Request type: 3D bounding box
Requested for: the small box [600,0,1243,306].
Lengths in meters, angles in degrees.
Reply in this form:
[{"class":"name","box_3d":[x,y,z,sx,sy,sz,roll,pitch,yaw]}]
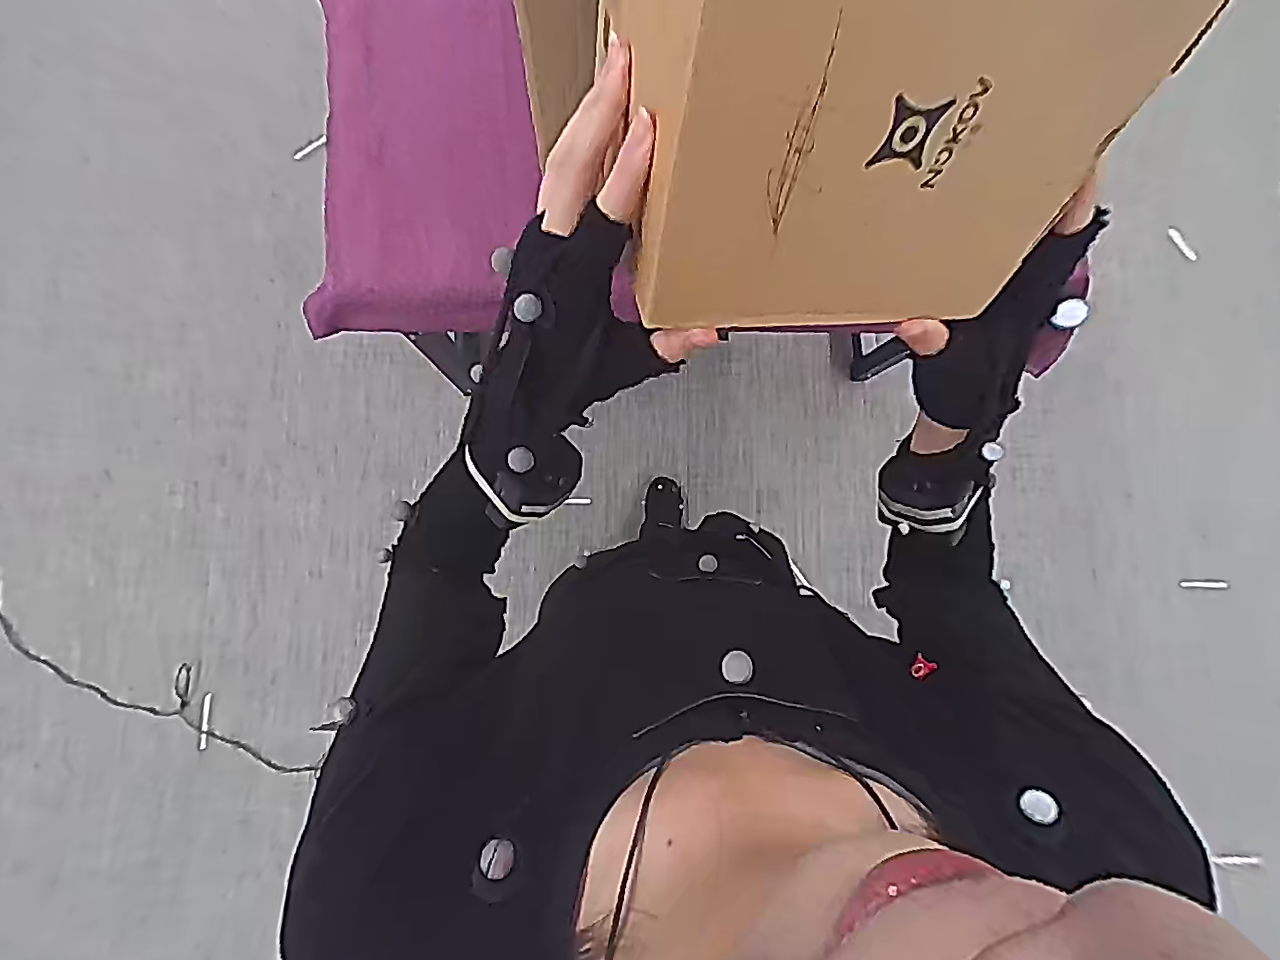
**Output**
[{"class":"small box","box_3d":[0.086,-0.193,0.219,0.179,0.168,0.176,-5,57,-11]}]
